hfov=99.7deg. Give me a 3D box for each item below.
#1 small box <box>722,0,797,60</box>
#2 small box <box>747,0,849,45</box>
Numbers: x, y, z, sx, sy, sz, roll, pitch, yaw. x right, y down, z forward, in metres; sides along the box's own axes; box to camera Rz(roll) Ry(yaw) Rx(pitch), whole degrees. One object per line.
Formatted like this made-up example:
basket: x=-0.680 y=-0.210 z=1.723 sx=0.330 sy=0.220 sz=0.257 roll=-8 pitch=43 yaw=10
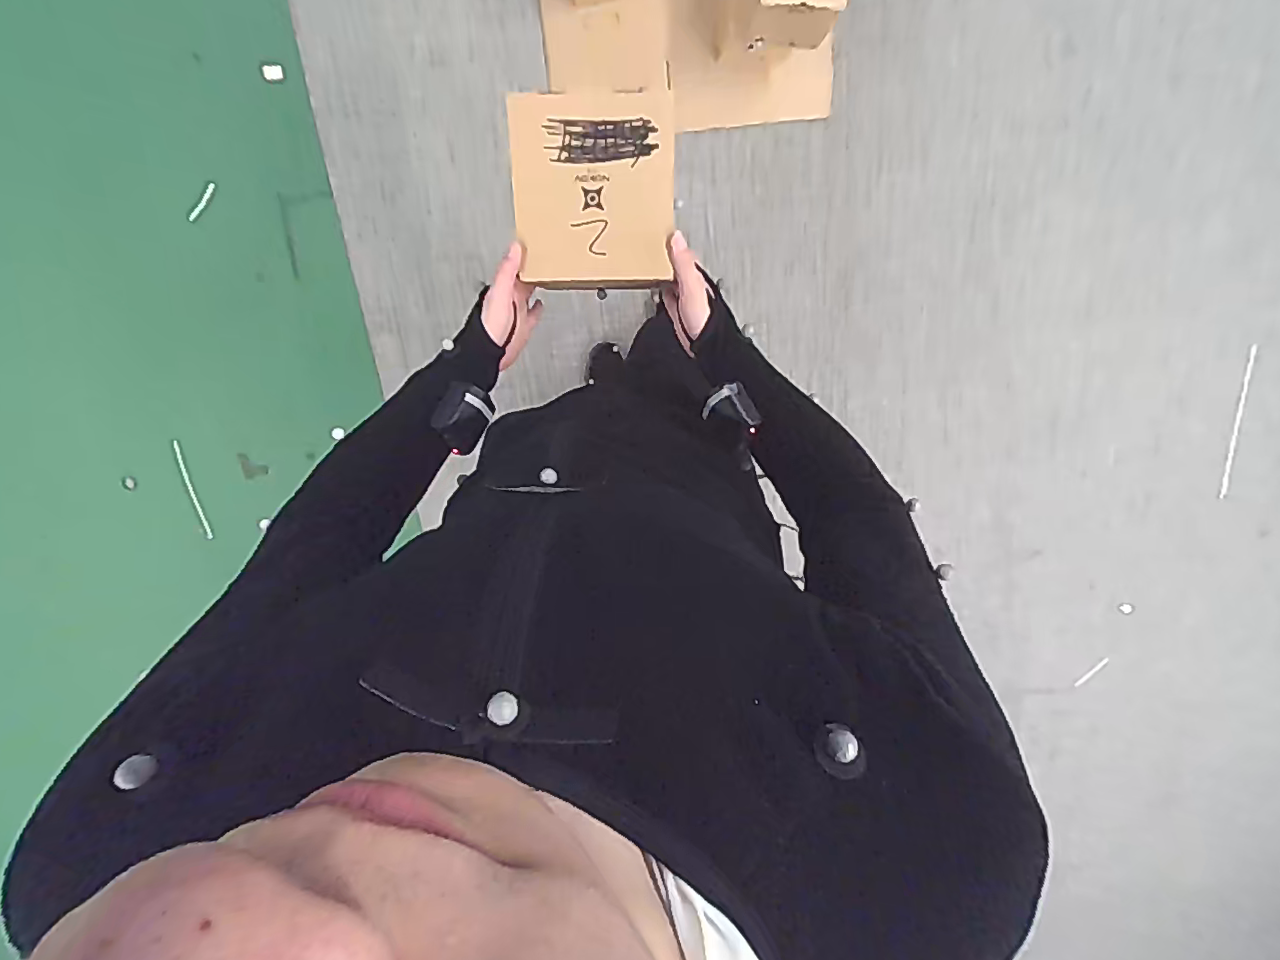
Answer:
small box: x=0.278 y=-1.062 z=1.198 sx=0.168 sy=0.176 sz=0.179 roll=-1 pitch=108 yaw=0
small box: x=0.310 y=-0.987 z=1.051 sx=0.168 sy=0.176 sz=0.179 roll=3 pitch=107 yaw=-2
